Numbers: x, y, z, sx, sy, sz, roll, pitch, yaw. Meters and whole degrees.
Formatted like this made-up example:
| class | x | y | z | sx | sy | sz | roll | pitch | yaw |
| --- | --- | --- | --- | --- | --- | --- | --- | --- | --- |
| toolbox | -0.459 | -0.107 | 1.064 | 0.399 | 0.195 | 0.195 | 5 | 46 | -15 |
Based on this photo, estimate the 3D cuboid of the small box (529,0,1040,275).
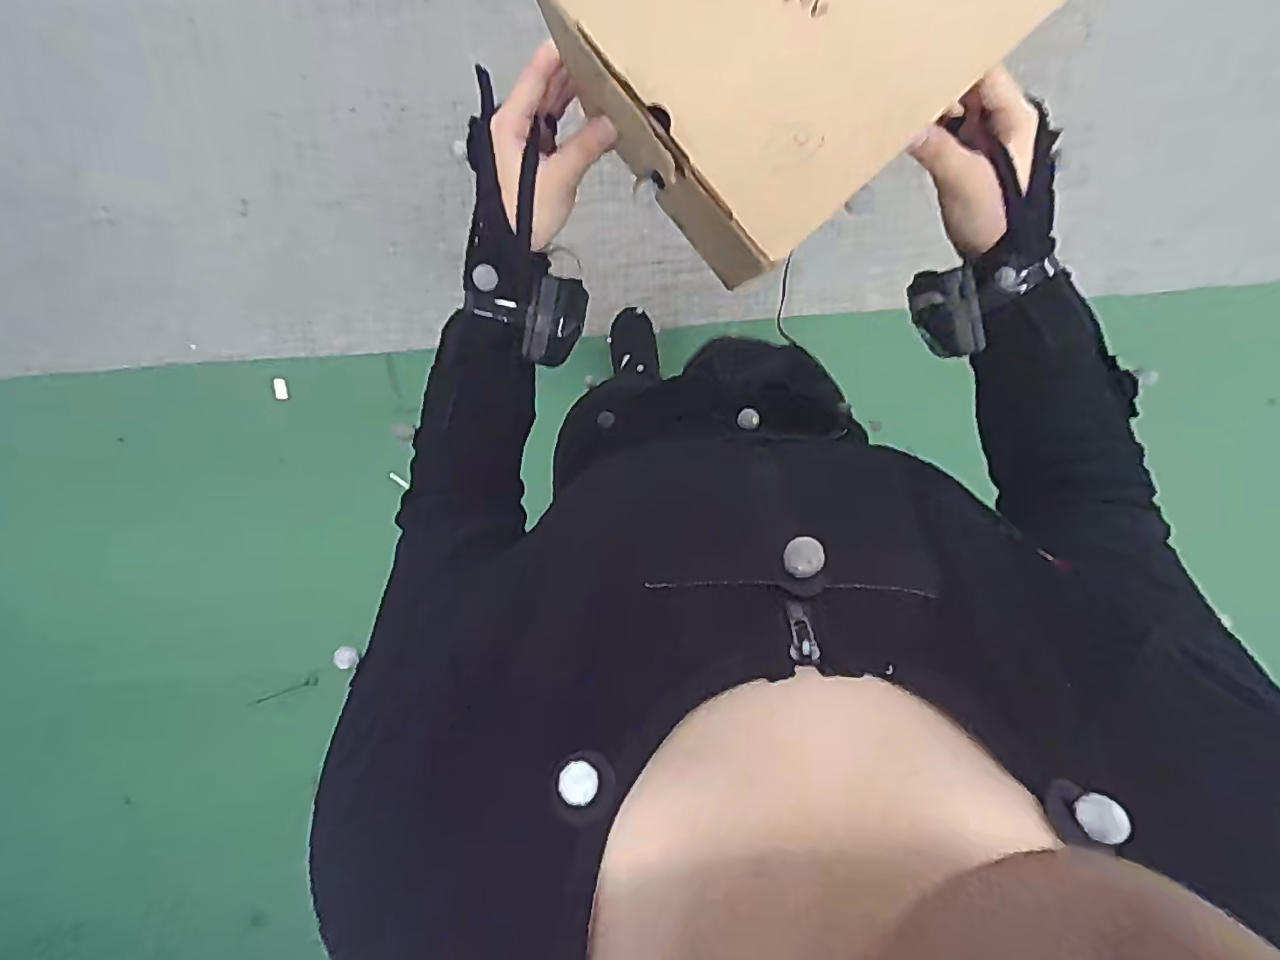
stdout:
| class | x | y | z | sx | sy | sz | roll | pitch | yaw |
| --- | --- | --- | --- | --- | --- | --- | --- | --- | --- |
| small box | 0.069 | -0.238 | 0.301 | 0.179 | 0.176 | 0.168 | -40 | 99 | 14 |
